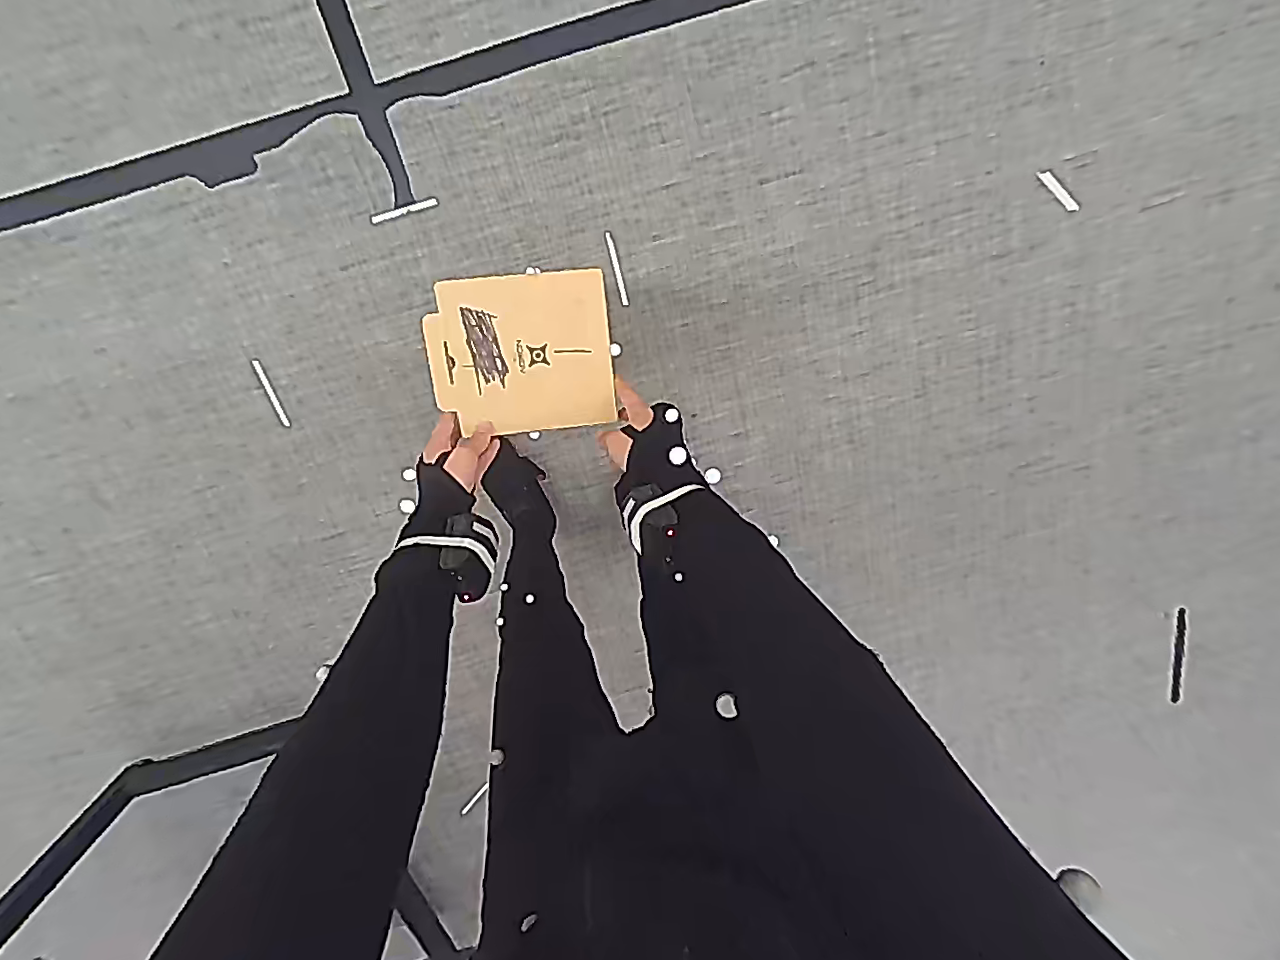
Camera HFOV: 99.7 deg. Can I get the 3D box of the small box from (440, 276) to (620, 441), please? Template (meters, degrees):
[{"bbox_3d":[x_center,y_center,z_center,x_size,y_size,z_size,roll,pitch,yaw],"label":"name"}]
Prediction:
[{"bbox_3d":[-0.122,-0.147,0.657,0.179,0.176,0.168,-7,105,-5],"label":"small box"}]
